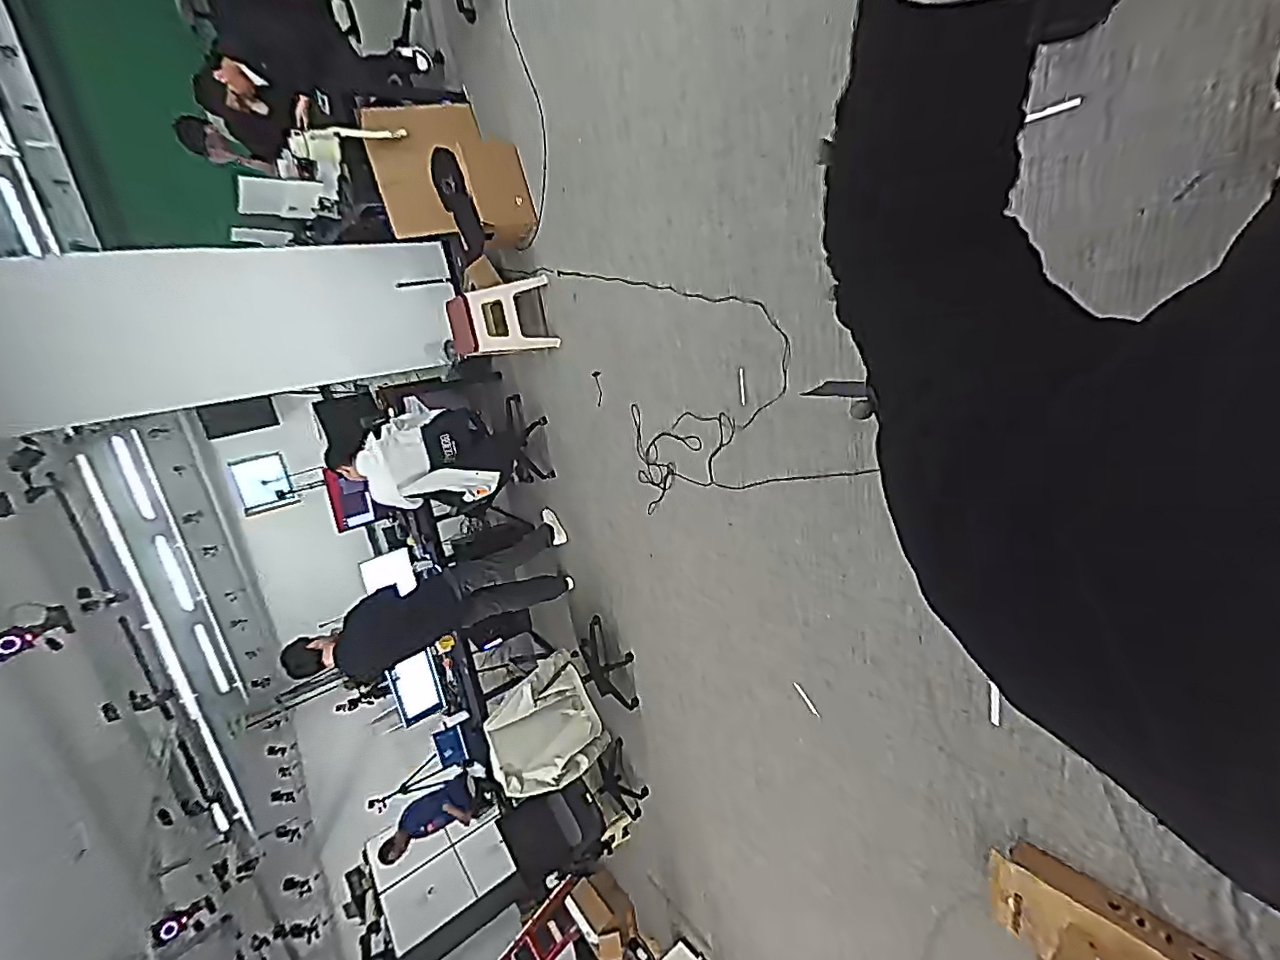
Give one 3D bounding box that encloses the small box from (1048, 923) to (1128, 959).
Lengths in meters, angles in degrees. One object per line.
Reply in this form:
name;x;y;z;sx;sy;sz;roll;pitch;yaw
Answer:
small box;1.195;1.346;1.428;0.168;0.176;0.179;13;118;52
